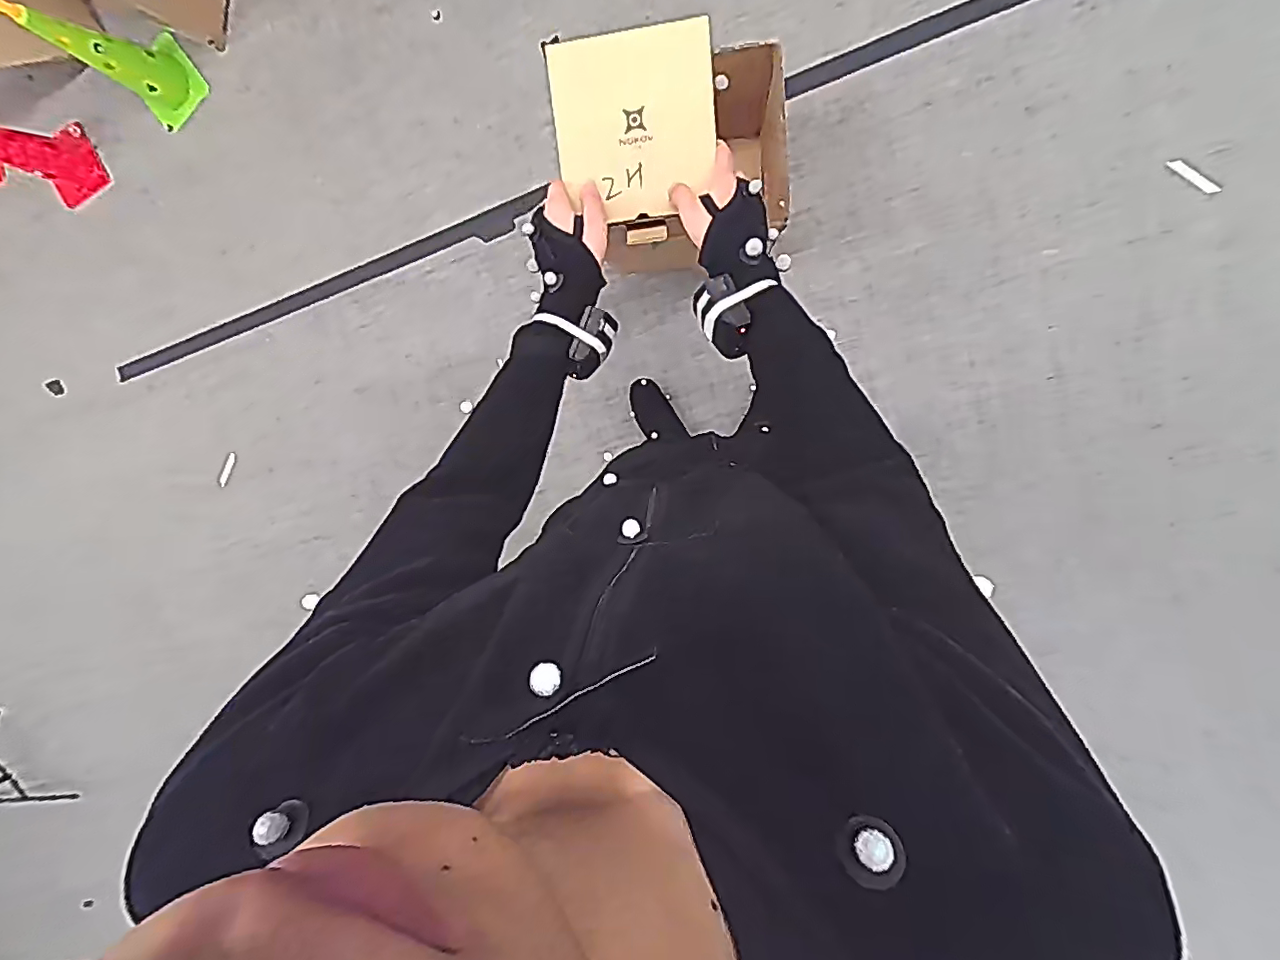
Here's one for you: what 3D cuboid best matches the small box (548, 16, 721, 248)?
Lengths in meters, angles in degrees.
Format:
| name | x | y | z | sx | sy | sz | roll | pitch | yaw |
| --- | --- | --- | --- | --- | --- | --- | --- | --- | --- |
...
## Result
| name | x | y | z | sx | sy | sz | roll | pitch | yaw |
| --- | --- | --- | --- | --- | --- | --- | --- | --- | --- |
| small box | 0.004 | -0.379 | 0.625 | 0.168 | 0.176 | 0.179 | -4 | 107 | 8 |
